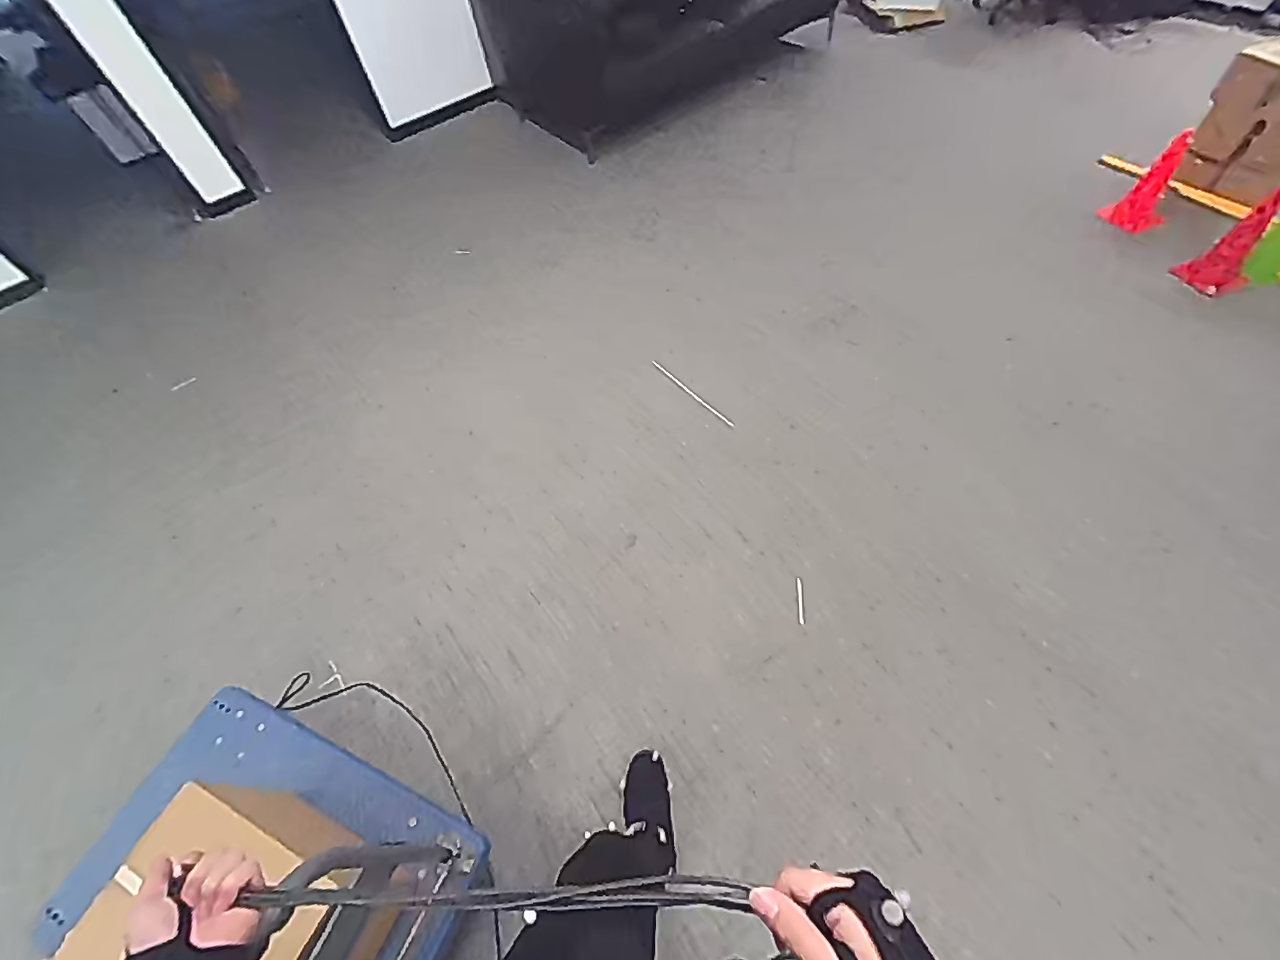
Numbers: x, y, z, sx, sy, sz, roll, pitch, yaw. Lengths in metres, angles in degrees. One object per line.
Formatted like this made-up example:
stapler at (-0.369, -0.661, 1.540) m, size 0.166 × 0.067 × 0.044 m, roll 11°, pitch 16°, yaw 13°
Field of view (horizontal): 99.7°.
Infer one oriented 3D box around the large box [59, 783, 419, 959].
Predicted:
large box at (-0.725, 0.838, 1.032) m, size 0.408 × 0.320 × 0.320 m, roll 17°, pitch 59°, yaw 19°
